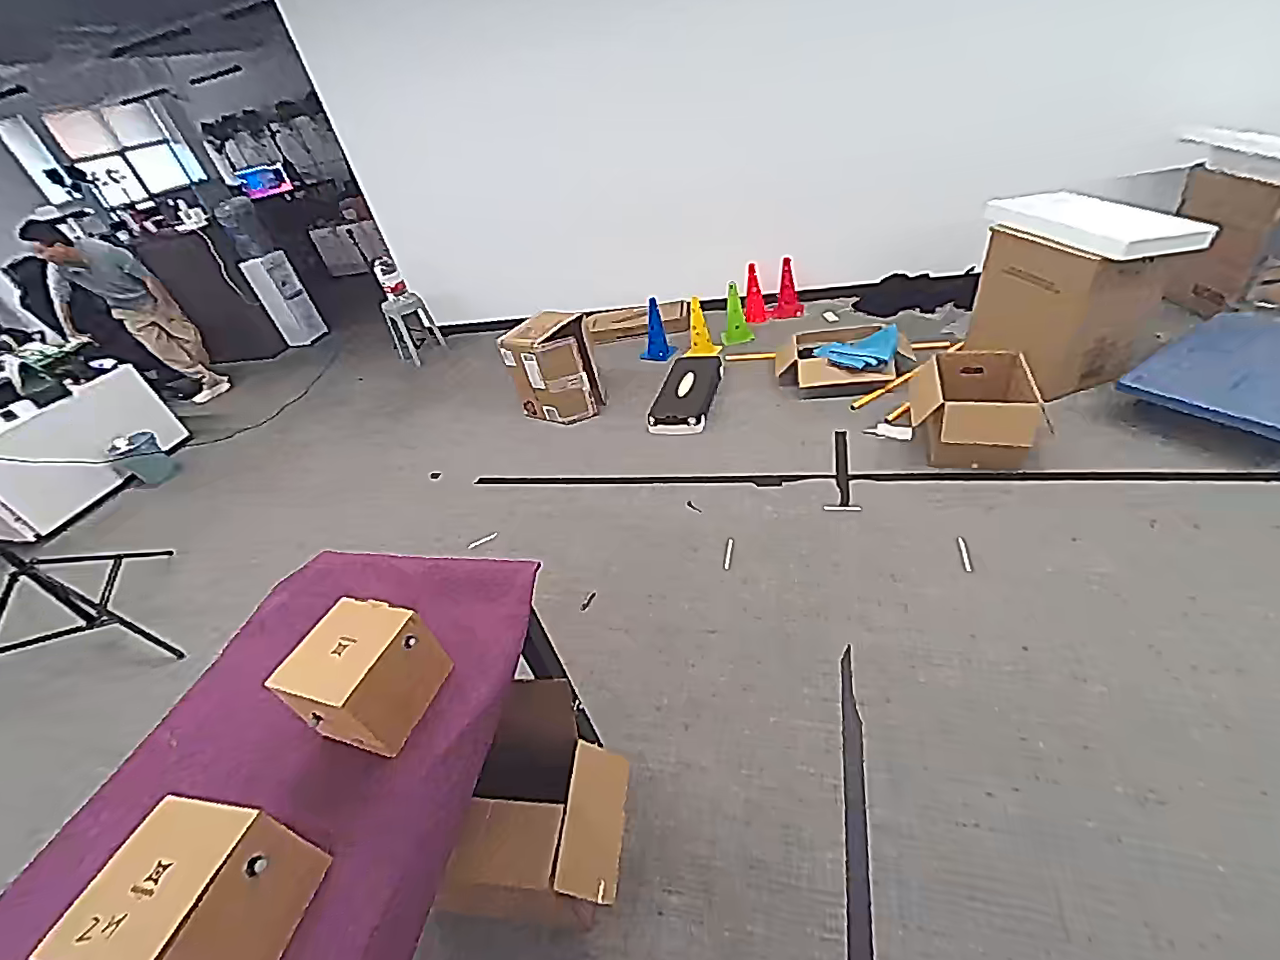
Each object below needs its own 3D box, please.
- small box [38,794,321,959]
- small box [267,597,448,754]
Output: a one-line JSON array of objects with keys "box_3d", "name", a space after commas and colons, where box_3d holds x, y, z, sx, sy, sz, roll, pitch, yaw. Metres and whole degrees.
[{"box_3d": [-0.540, 0.526, 0.670, 0.168, 0.176, 0.179, -3, 39, 17], "name": "small box"}, {"box_3d": [-0.454, 0.325, 0.902, 0.168, 0.176, 0.179, 3, 40, 21], "name": "small box"}]
